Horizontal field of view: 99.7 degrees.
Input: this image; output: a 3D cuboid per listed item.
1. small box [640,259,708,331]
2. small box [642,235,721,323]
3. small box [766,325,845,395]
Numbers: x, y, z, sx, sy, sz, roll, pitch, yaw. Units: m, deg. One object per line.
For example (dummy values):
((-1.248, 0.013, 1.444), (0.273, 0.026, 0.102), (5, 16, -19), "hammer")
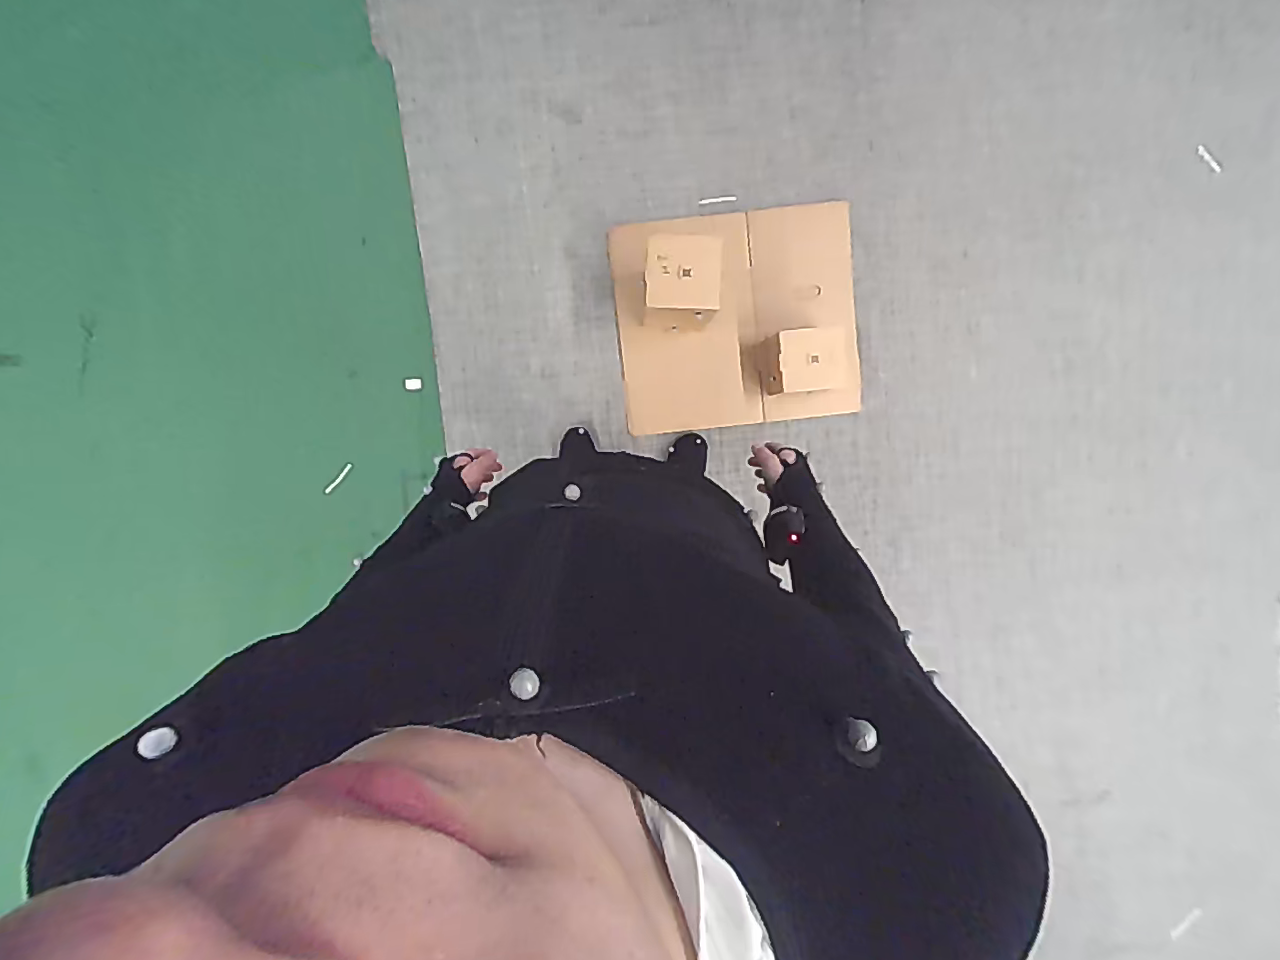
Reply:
((0.093, -0.510, 1.492), (0.179, 0.176, 0.168), (2, 96, -1), "small box")
((0.097, -0.486, 1.328), (0.179, 0.176, 0.168), (2, 95, 0), "small box")
((0.455, -0.330, 1.514), (0.179, 0.176, 0.168), (-5, 96, 1), "small box")
